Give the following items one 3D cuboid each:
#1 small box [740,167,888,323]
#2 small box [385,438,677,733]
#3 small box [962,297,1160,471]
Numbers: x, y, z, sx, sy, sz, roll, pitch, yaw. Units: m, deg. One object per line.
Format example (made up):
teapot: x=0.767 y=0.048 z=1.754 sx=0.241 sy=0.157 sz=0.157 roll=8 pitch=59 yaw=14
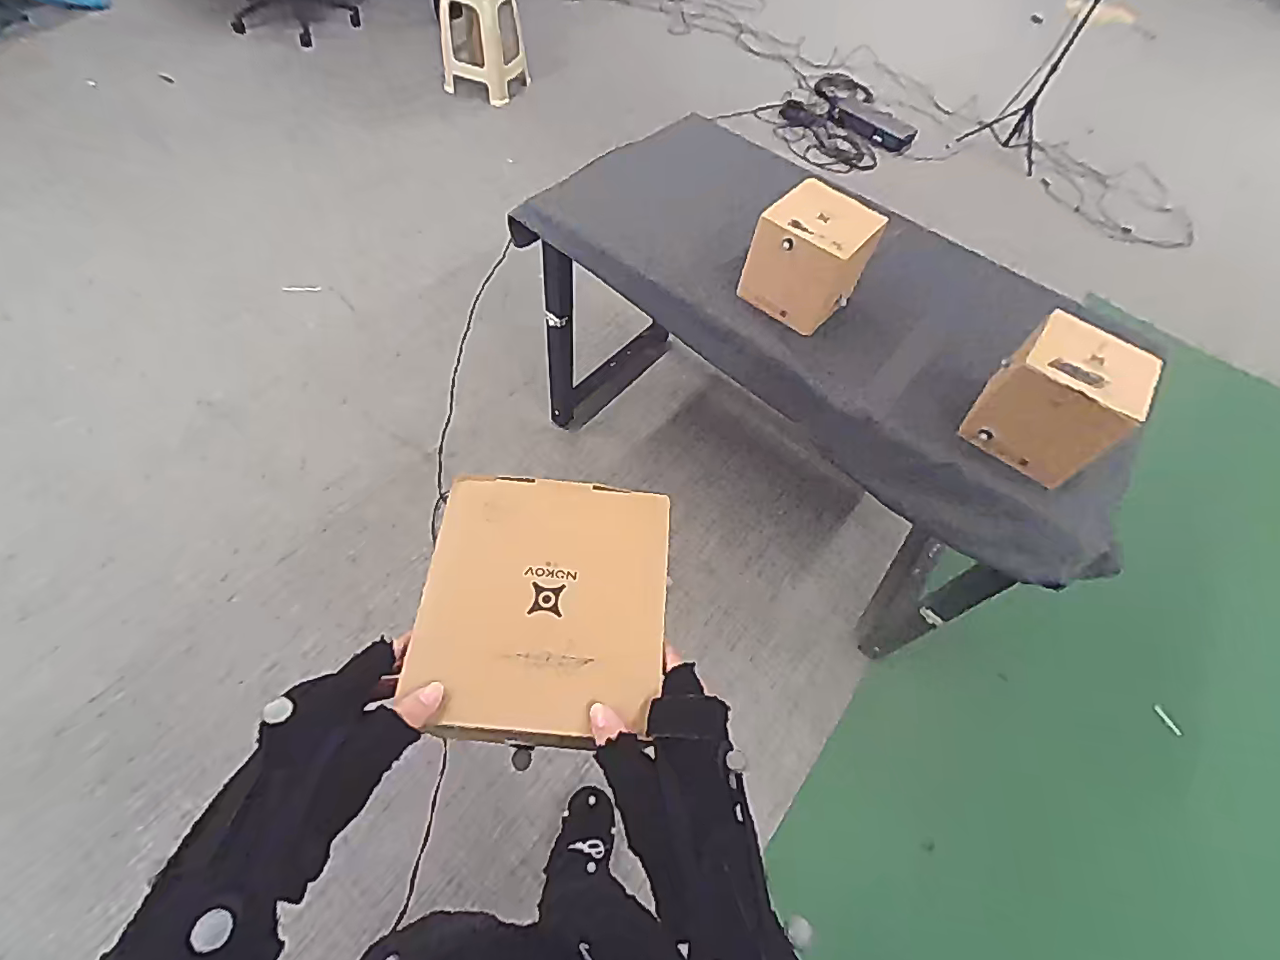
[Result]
small box: x=0.305 y=-0.424 z=0.982 sx=0.168 sy=0.176 sz=0.179 roll=37 pitch=61 yaw=15
small box: x=-0.068 y=0.092 z=0.426 sx=0.168 sy=0.176 sz=0.179 roll=7 pitch=62 yaw=-1
small box: x=0.650 y=-0.147 z=0.854 sx=0.168 sy=0.176 sz=0.179 roll=37 pitch=60 yaw=16
